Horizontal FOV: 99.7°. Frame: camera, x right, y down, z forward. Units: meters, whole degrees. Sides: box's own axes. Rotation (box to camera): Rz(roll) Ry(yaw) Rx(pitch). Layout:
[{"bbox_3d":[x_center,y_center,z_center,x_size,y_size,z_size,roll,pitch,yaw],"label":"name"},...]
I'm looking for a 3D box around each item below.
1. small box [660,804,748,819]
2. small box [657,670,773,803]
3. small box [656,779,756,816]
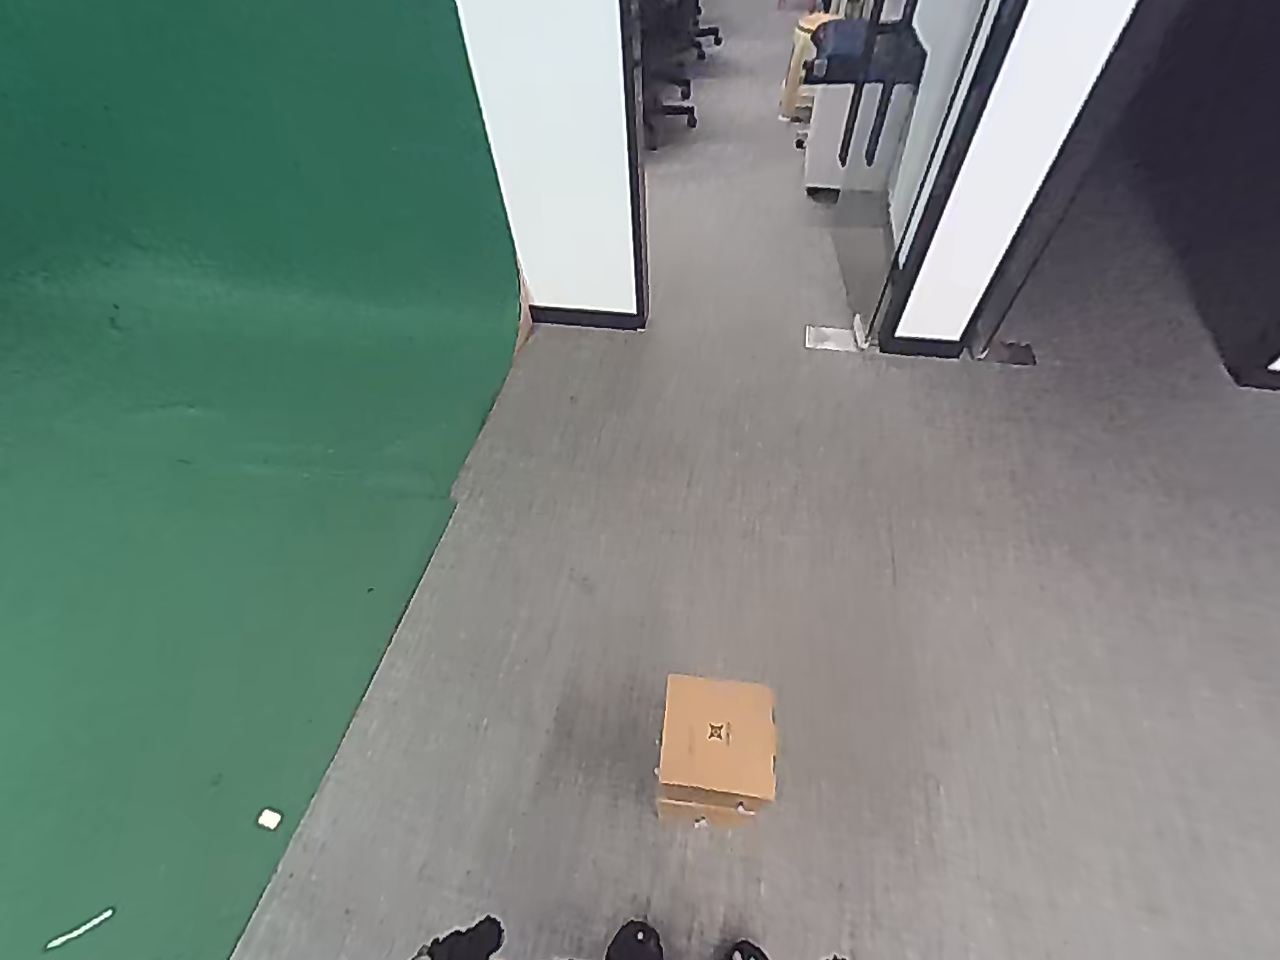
[{"bbox_3d":[0.135,0.636,1.181,0.179,0.176,0.168,1,53,3],"label":"small box"},{"bbox_3d":[0.125,0.440,0.921,0.179,0.176,0.168,3,52,7],"label":"small box"},{"bbox_3d":[0.127,0.541,1.048,0.179,0.176,0.168,5,53,6],"label":"small box"}]
